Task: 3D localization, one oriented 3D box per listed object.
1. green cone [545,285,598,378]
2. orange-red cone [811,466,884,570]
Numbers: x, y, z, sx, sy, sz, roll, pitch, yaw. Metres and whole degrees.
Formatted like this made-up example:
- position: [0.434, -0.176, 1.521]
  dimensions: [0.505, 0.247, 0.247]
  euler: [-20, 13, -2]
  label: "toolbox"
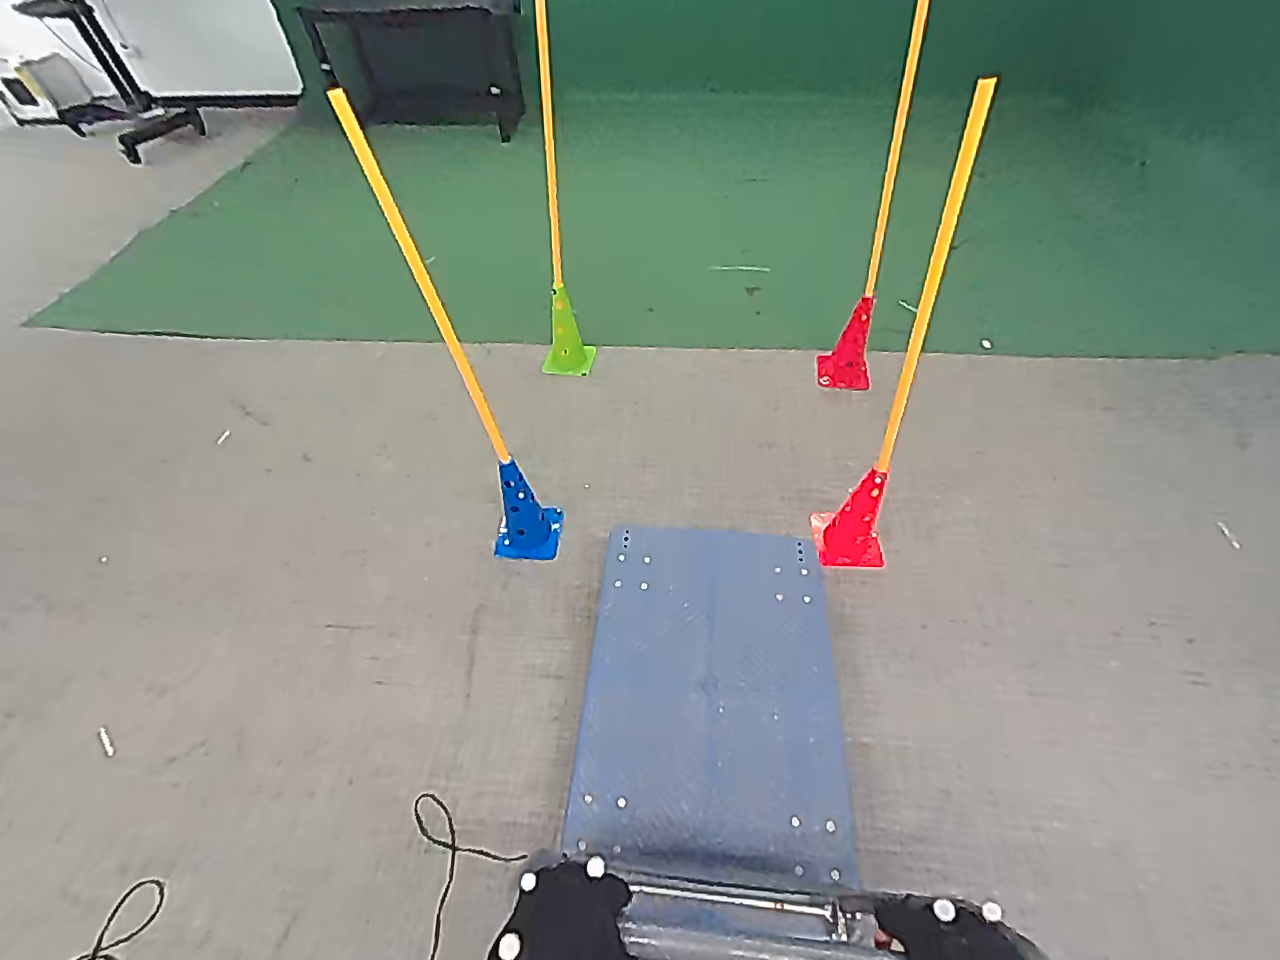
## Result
- position: [-0.298, -0.617, 2.183]
  dimensions: [0.202, 0.368, 0.200]
  euler: [5, 51, 7]
  label: "green cone"
- position: [0.643, 0.089, 1.586]
  dimensions: [0.199, 0.360, 0.198]
  euler: [1, 50, 5]
  label: "orange-red cone"
